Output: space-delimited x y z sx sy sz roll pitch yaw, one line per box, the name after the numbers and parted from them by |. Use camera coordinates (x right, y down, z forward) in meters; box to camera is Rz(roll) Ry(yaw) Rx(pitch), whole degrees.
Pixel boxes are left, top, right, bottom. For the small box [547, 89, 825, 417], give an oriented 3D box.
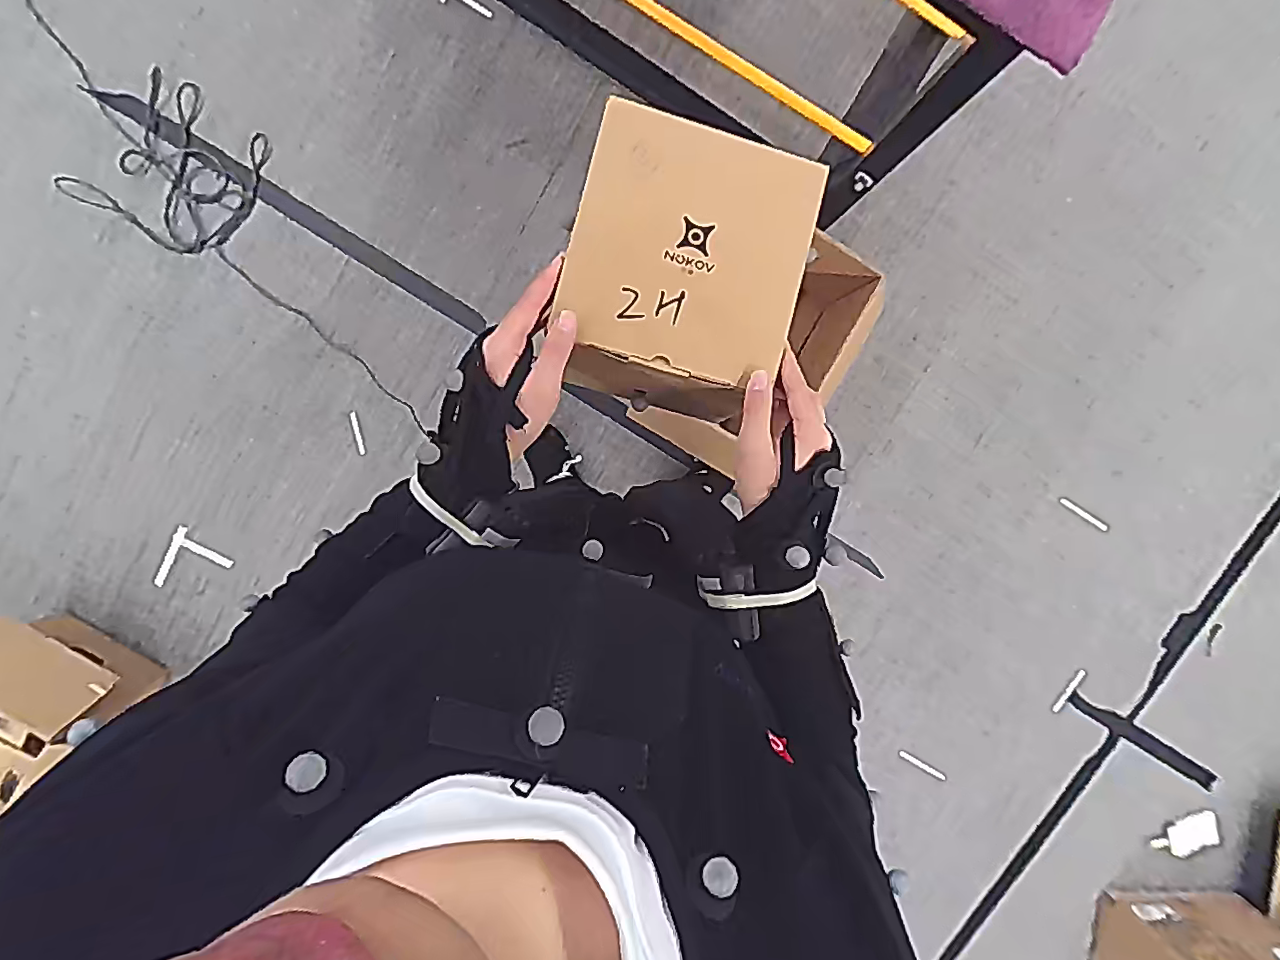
0.027 -0.165 0.455 0.168 0.176 0.179 15 88 -5 | small box
